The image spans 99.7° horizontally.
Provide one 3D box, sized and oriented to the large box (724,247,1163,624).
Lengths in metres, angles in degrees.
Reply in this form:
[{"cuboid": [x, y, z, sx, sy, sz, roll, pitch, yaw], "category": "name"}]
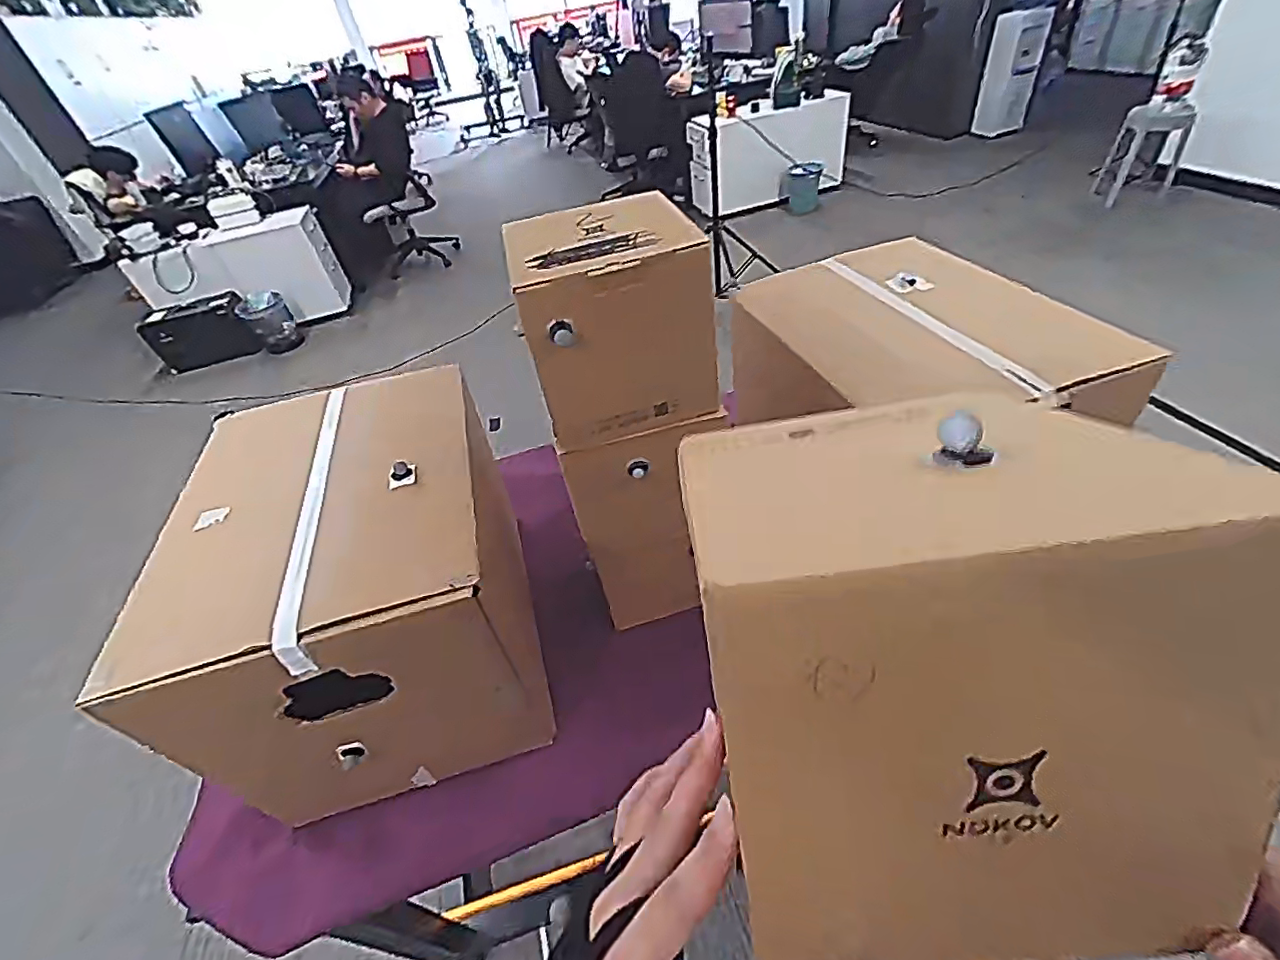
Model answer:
[{"cuboid": [0.348, -0.082, 0.762, 0.320, 0.320, 0.408, -17, 41, -8], "category": "large box"}]
